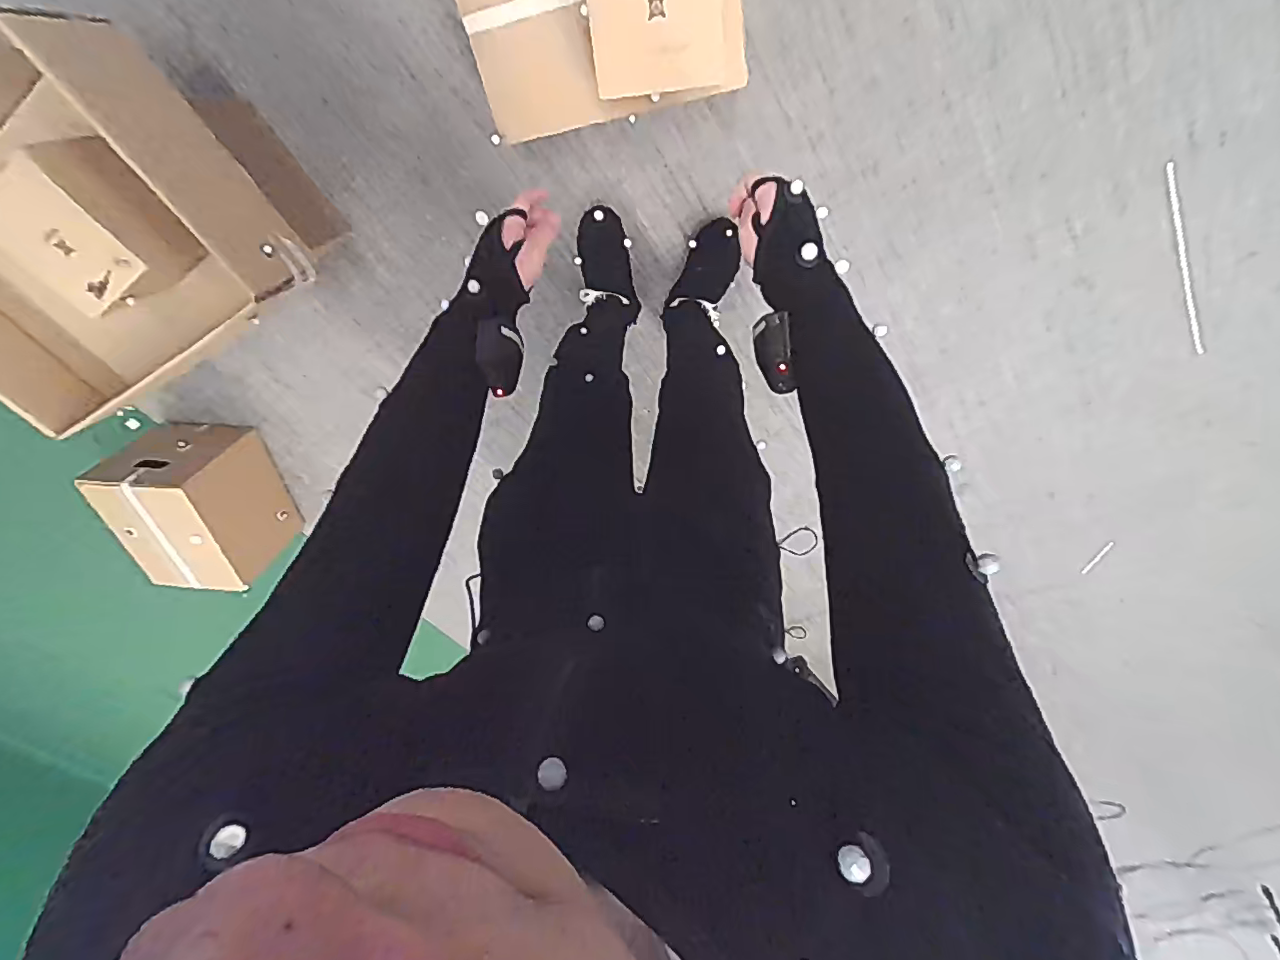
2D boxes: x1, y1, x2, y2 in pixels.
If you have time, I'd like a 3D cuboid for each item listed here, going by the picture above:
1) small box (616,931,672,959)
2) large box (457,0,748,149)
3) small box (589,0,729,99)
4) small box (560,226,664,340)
[{"bbox_3d":[0.016,1.873,2.091,0.168,0.176,0.179,-23,122,20],"label":"small box"},{"bbox_3d":[-0.049,-0.779,0.875,0.408,0.320,0.320,-6,126,11],"label":"large box"},{"bbox_3d":[0.027,-0.606,0.691,0.168,0.176,0.179,-1,130,7],"label":"small box"},{"bbox_3d":[-0.068,-0.452,1.239,0.179,0.176,0.168,34,121,-8],"label":"small box"}]
